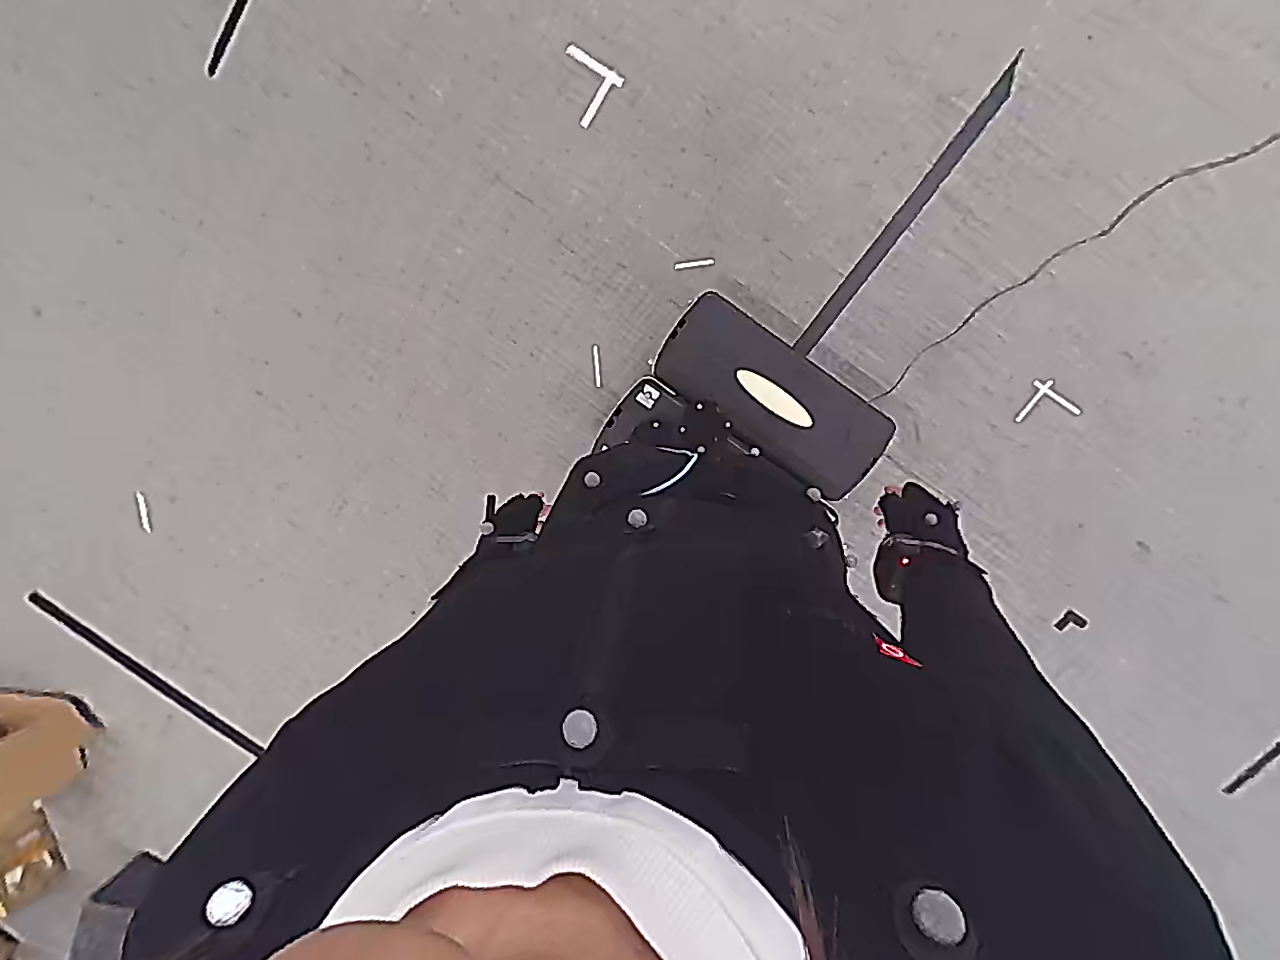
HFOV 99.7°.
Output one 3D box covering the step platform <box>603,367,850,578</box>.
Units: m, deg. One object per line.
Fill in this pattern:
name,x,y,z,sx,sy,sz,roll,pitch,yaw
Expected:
step platform,0.233,-0.022,1.516,0.684,0.204,0.286,35,100,0
